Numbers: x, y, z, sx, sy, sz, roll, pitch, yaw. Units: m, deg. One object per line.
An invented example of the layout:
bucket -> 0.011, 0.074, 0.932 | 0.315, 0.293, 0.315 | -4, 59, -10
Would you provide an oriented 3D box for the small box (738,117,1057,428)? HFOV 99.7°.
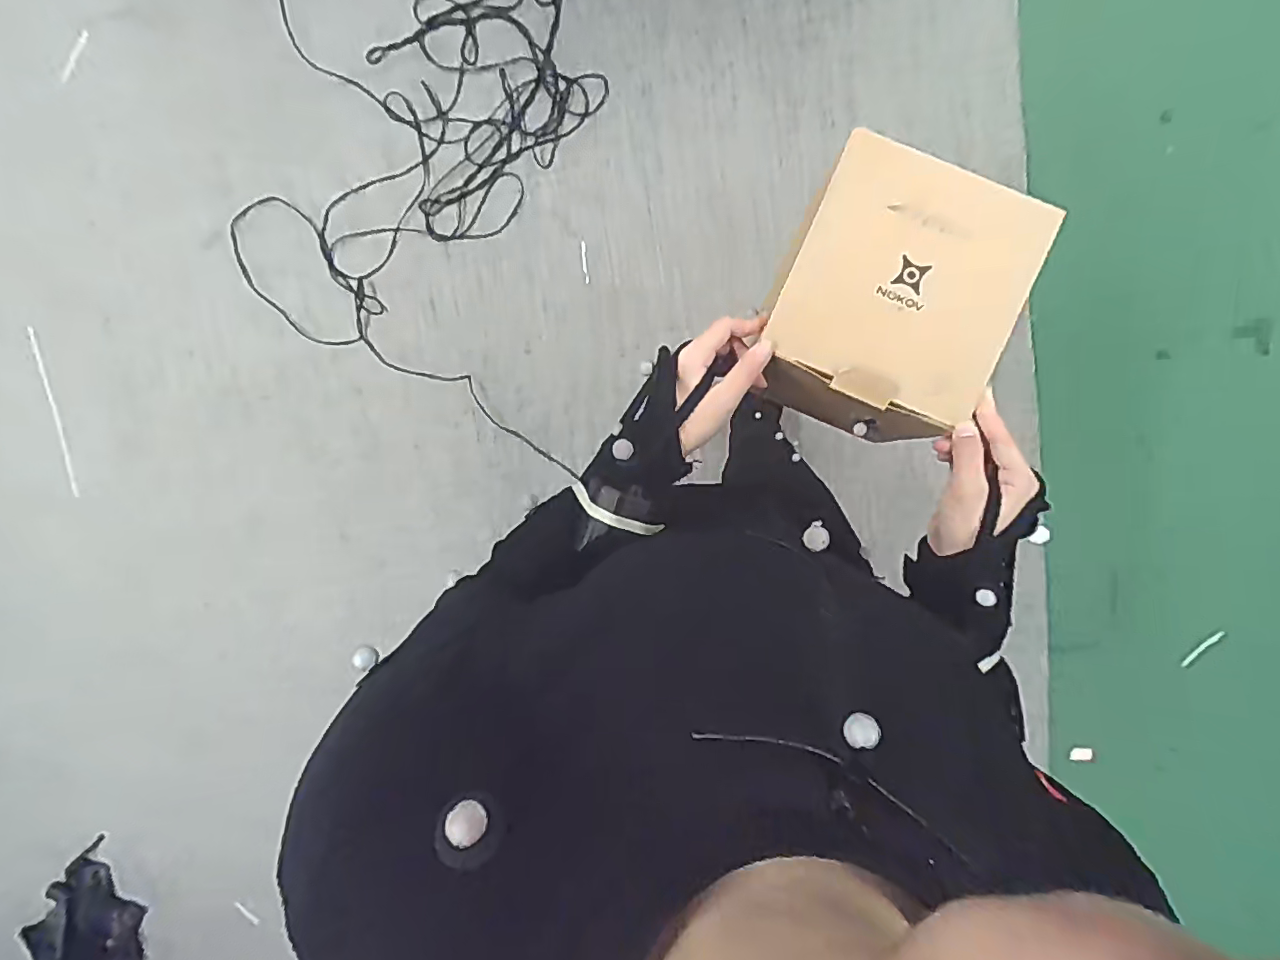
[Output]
small box -> 0.195, -0.154, 0.470 | 0.168, 0.176, 0.179 | 22, 92, 0
